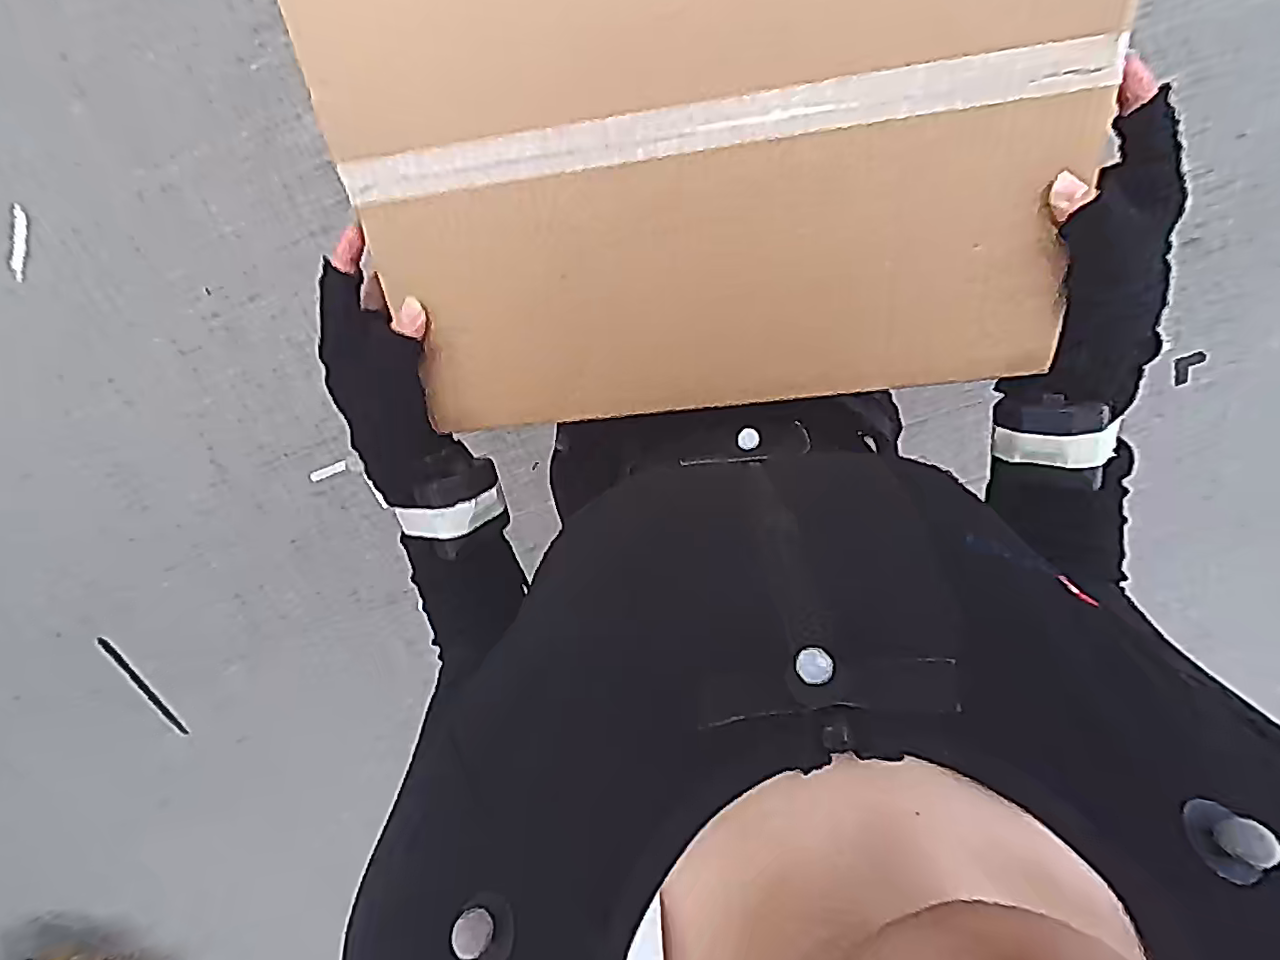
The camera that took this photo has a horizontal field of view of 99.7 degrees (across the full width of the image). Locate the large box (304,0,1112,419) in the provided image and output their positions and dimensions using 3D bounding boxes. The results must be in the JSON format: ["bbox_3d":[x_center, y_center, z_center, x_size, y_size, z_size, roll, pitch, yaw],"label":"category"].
[{"bbox_3d":[0.040,-0.266,0.425,0.408,0.320,0.320,-5,120,6],"label":"large box"}]
